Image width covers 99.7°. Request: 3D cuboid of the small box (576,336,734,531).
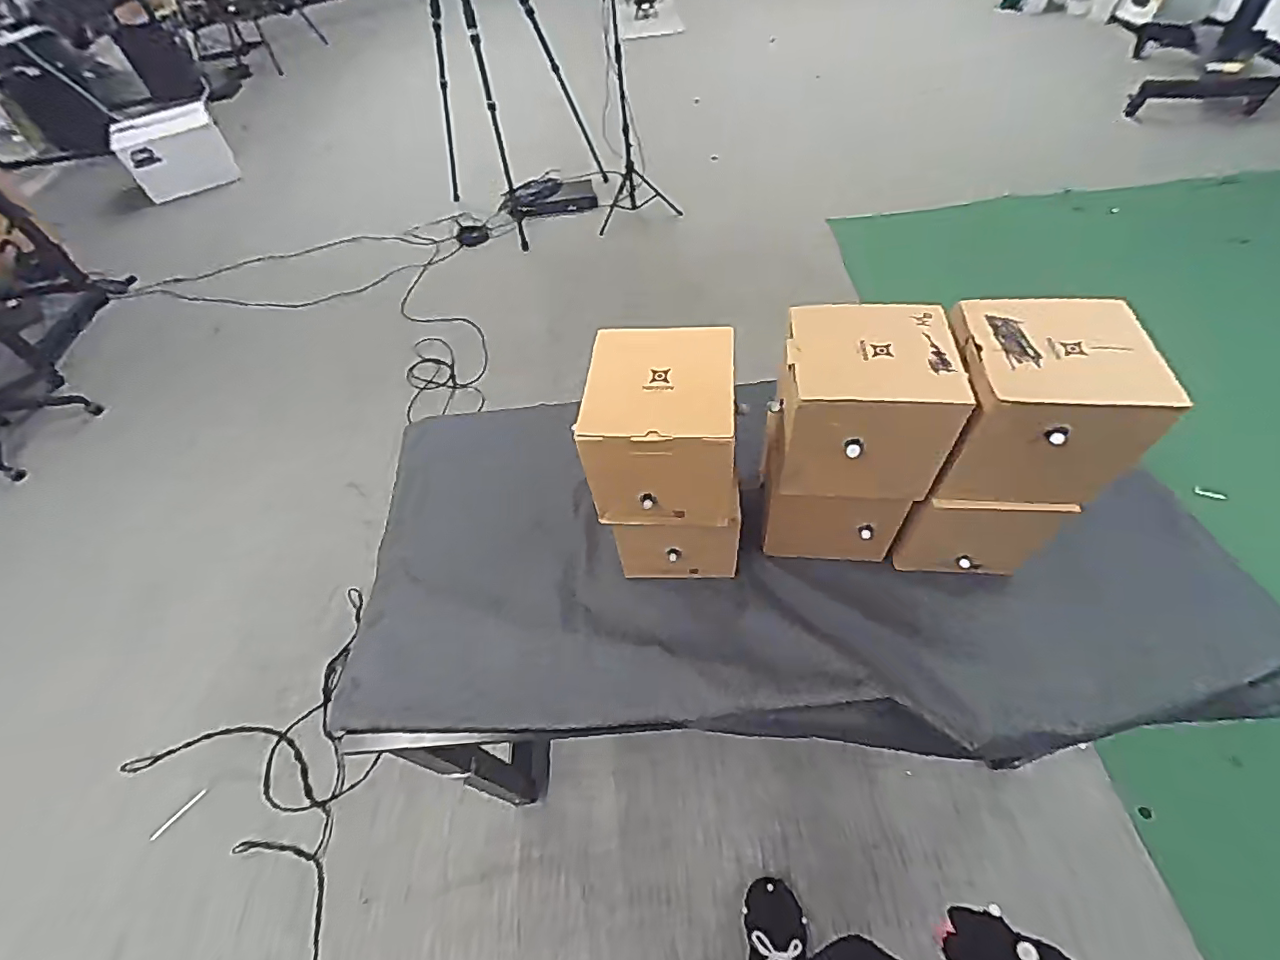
[{"bbox_3d":[0.029,-0.056,0.668,0.168,0.176,0.179,1,54,8],"label":"small box"}]
